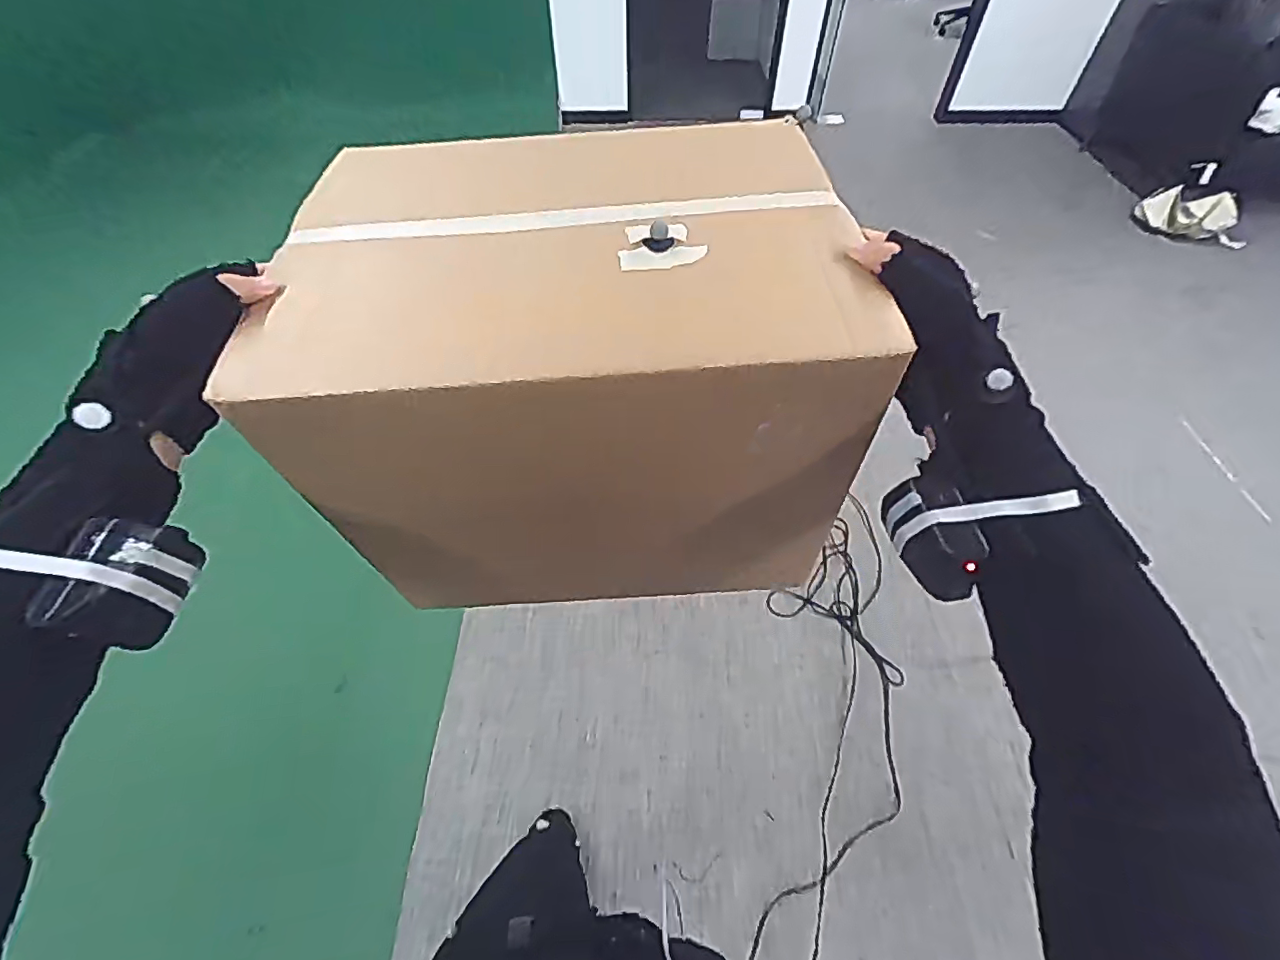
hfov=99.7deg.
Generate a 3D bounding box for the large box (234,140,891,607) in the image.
[{"bbox_3d":[-0.050,-0.090,0.528,0.408,0.320,0.320,-4,54,0],"label":"large box"}]
